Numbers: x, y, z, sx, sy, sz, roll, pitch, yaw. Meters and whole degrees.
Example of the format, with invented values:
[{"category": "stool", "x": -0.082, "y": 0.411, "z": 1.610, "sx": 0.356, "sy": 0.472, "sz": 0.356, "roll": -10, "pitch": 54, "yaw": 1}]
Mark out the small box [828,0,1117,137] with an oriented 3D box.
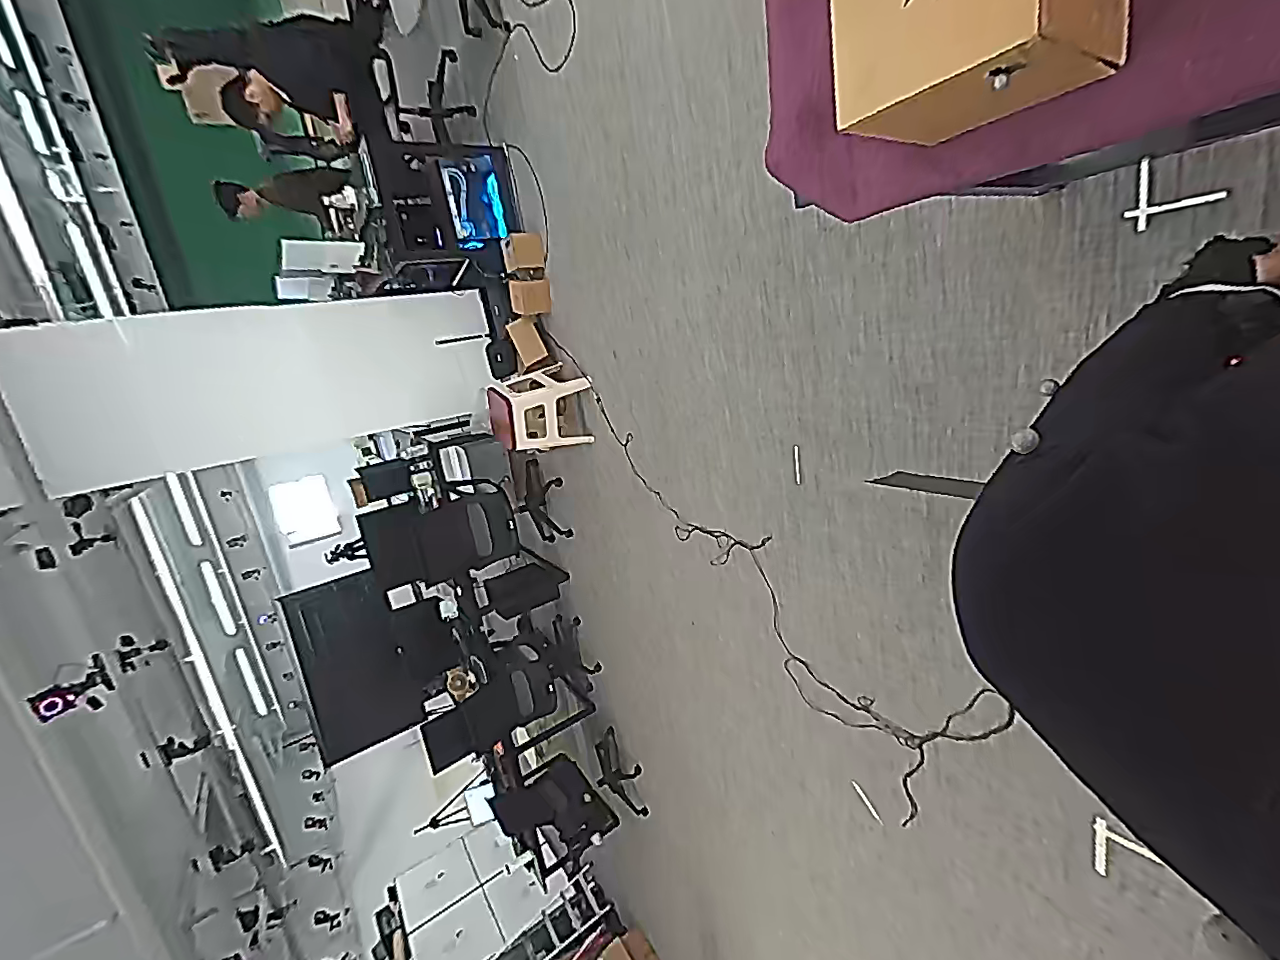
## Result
[{"category": "small box", "x": 0.298, "y": -0.438, "z": 0.494, "sx": 0.179, "sy": 0.176, "sz": 0.168, "roll": 11, "pitch": 114, "yaw": 55}]
